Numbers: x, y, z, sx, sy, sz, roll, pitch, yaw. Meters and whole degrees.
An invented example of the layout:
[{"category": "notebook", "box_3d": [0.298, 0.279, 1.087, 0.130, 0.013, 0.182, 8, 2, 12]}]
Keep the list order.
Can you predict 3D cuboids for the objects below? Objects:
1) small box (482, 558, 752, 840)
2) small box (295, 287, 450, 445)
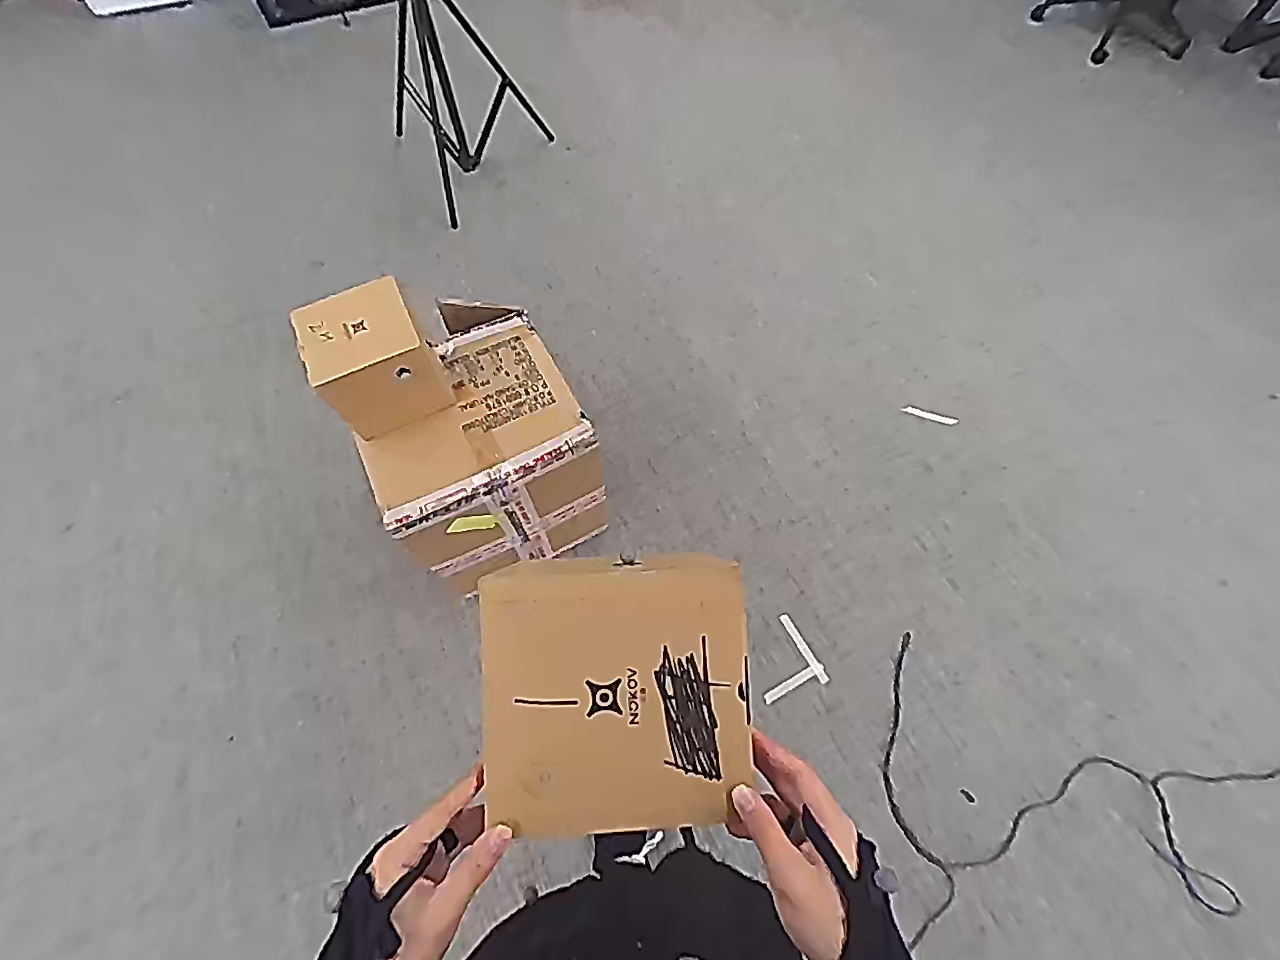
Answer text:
[{"category": "small box", "box_3d": [-0.020, 0.153, 0.437, 0.179, 0.176, 0.168, -3, 85, -3]}, {"category": "small box", "box_3d": [-0.447, -0.190, 0.933, 0.179, 0.176, 0.168, -25, 67, -9]}]
